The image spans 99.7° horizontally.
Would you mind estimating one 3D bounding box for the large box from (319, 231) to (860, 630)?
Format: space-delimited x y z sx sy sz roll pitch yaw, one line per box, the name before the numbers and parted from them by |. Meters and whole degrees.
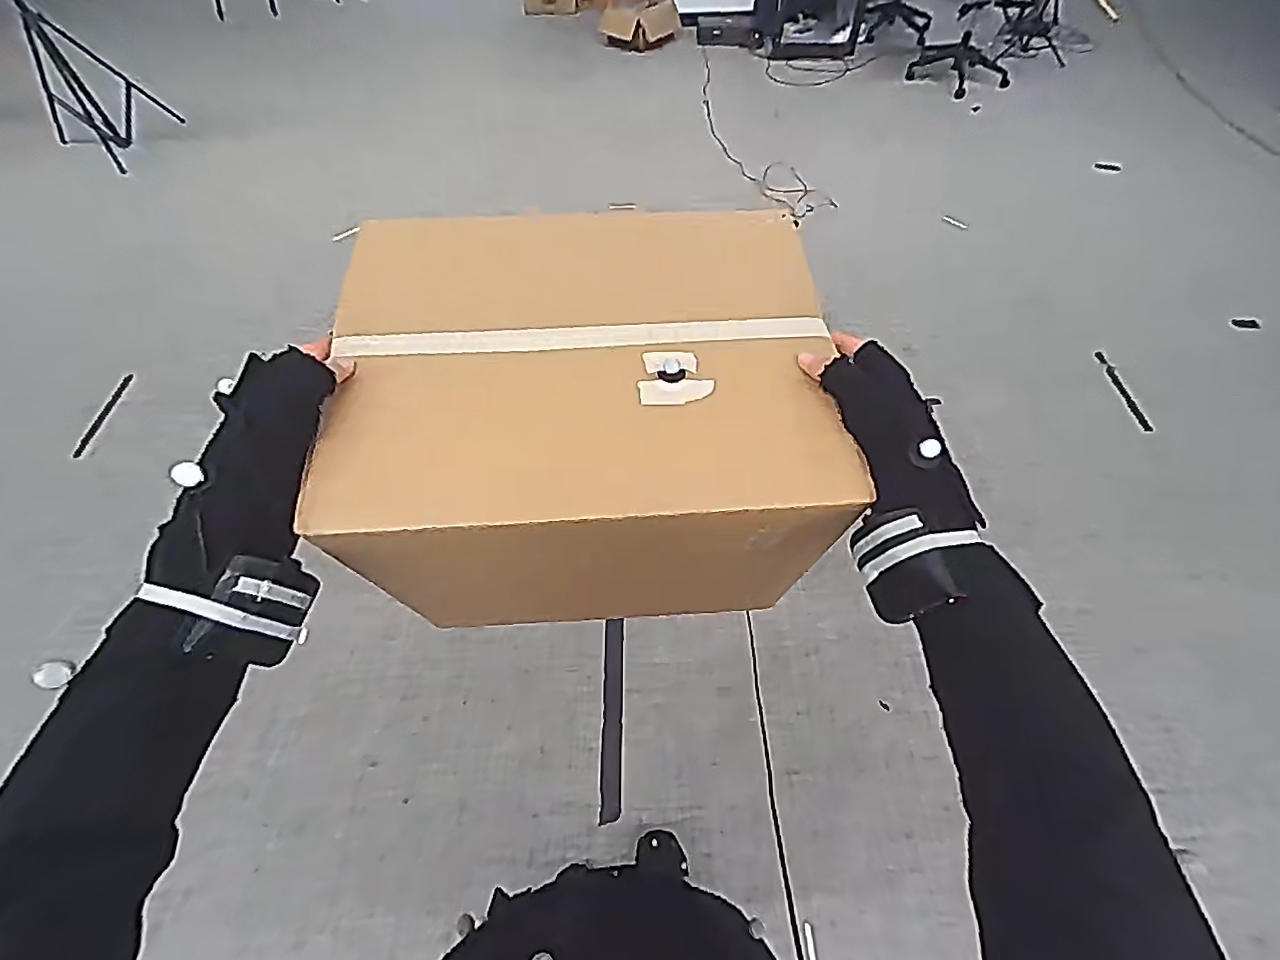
large box | -0.047 -0.036 0.592 0.408 0.320 0.320 -3 63 -3
